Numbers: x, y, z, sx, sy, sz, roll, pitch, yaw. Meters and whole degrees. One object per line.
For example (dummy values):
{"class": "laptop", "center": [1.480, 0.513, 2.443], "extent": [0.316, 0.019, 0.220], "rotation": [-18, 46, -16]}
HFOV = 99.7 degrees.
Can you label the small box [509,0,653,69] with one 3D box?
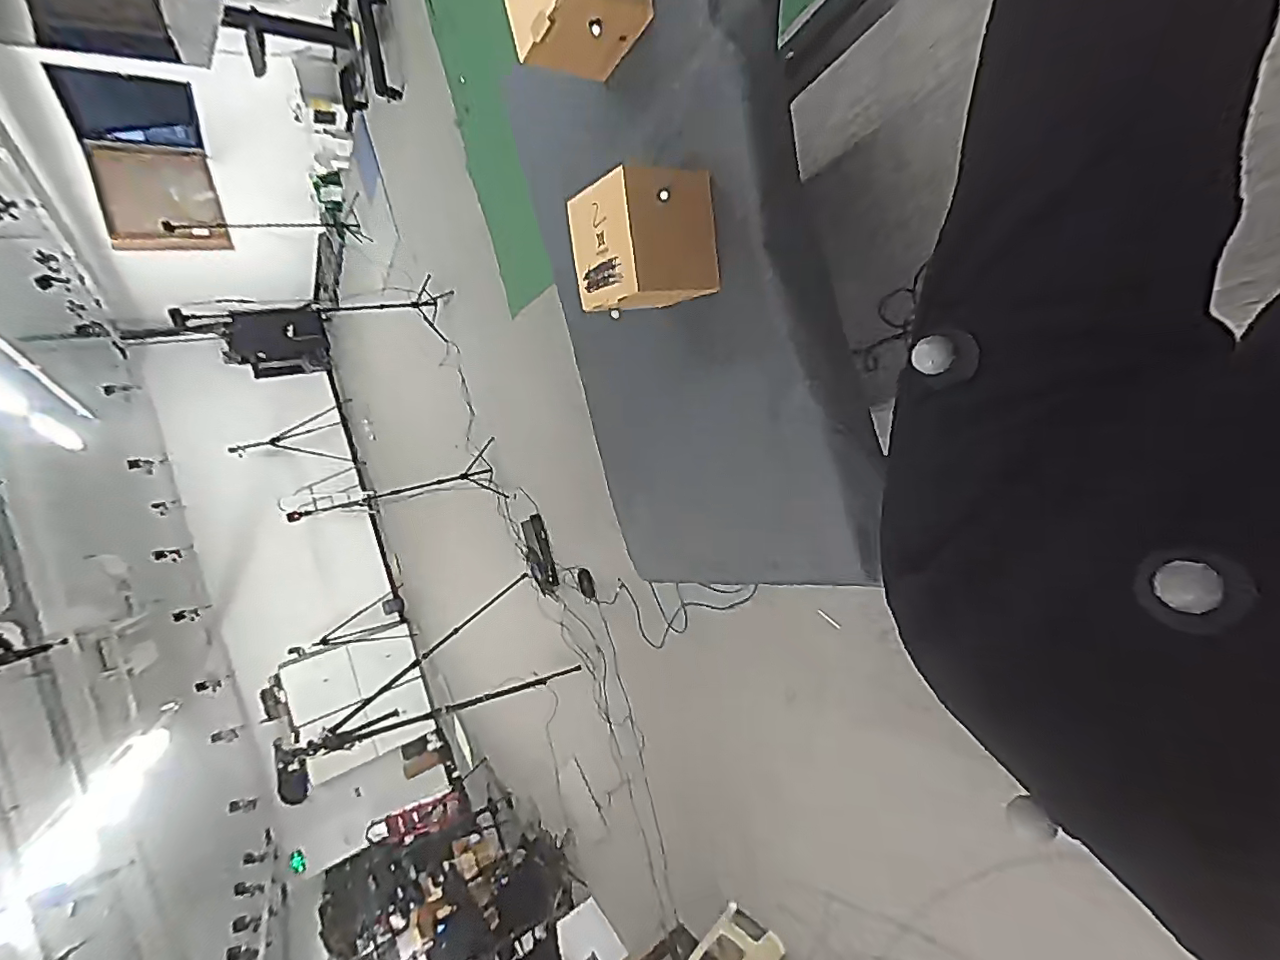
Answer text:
{"class": "small box", "center": [-0.100, -0.799, 0.865], "extent": [0.168, 0.176, 0.179], "rotation": [-6, 99, 55]}
